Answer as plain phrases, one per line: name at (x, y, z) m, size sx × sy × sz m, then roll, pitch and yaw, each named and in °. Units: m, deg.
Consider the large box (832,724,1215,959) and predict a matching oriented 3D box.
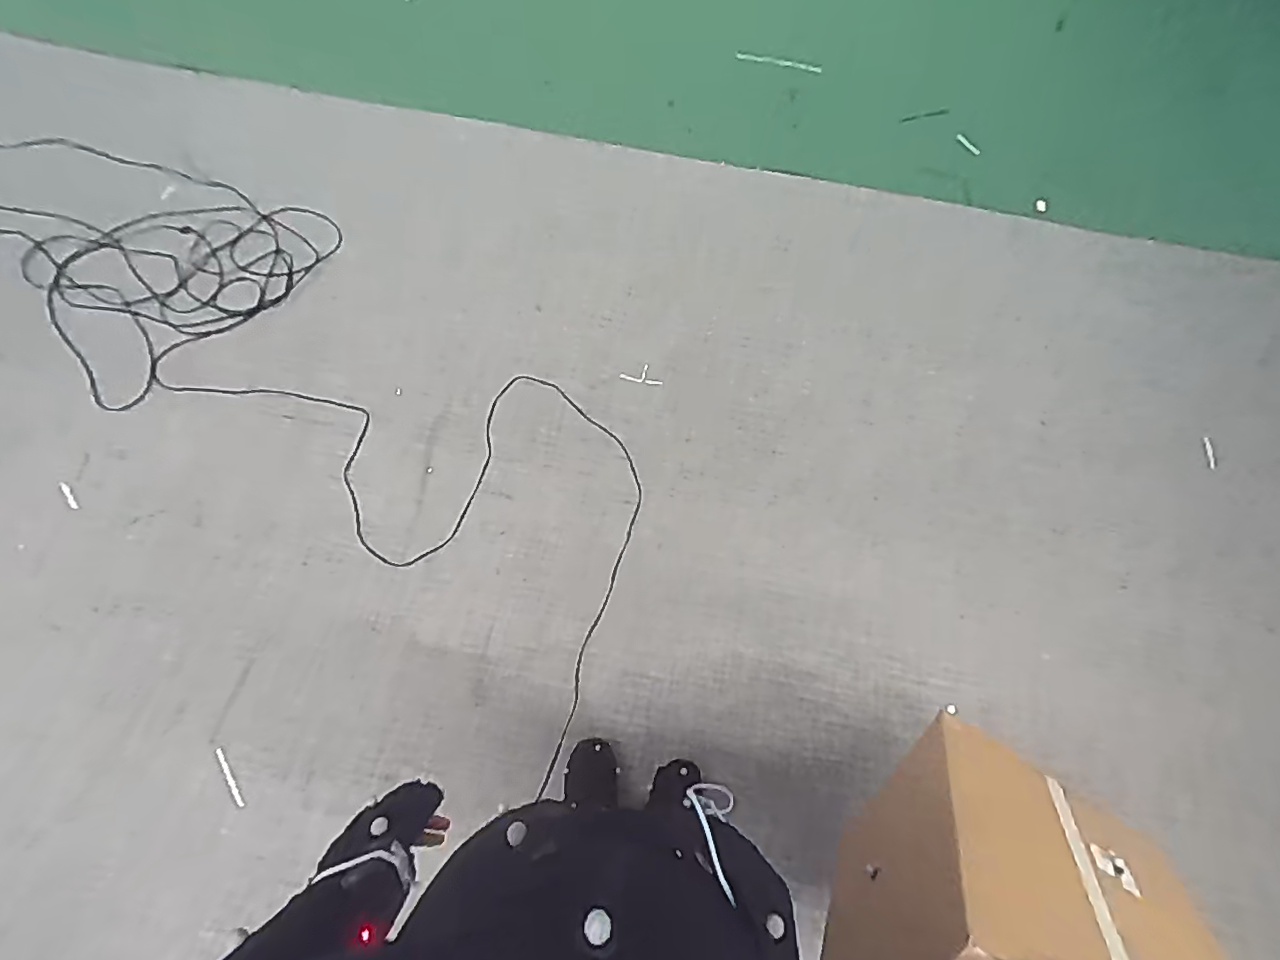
large box at (0.447, 0.605, 0.659) m, size 0.320 × 0.408 × 0.320 m, roll 32°, pitch 109°, yaw 18°
